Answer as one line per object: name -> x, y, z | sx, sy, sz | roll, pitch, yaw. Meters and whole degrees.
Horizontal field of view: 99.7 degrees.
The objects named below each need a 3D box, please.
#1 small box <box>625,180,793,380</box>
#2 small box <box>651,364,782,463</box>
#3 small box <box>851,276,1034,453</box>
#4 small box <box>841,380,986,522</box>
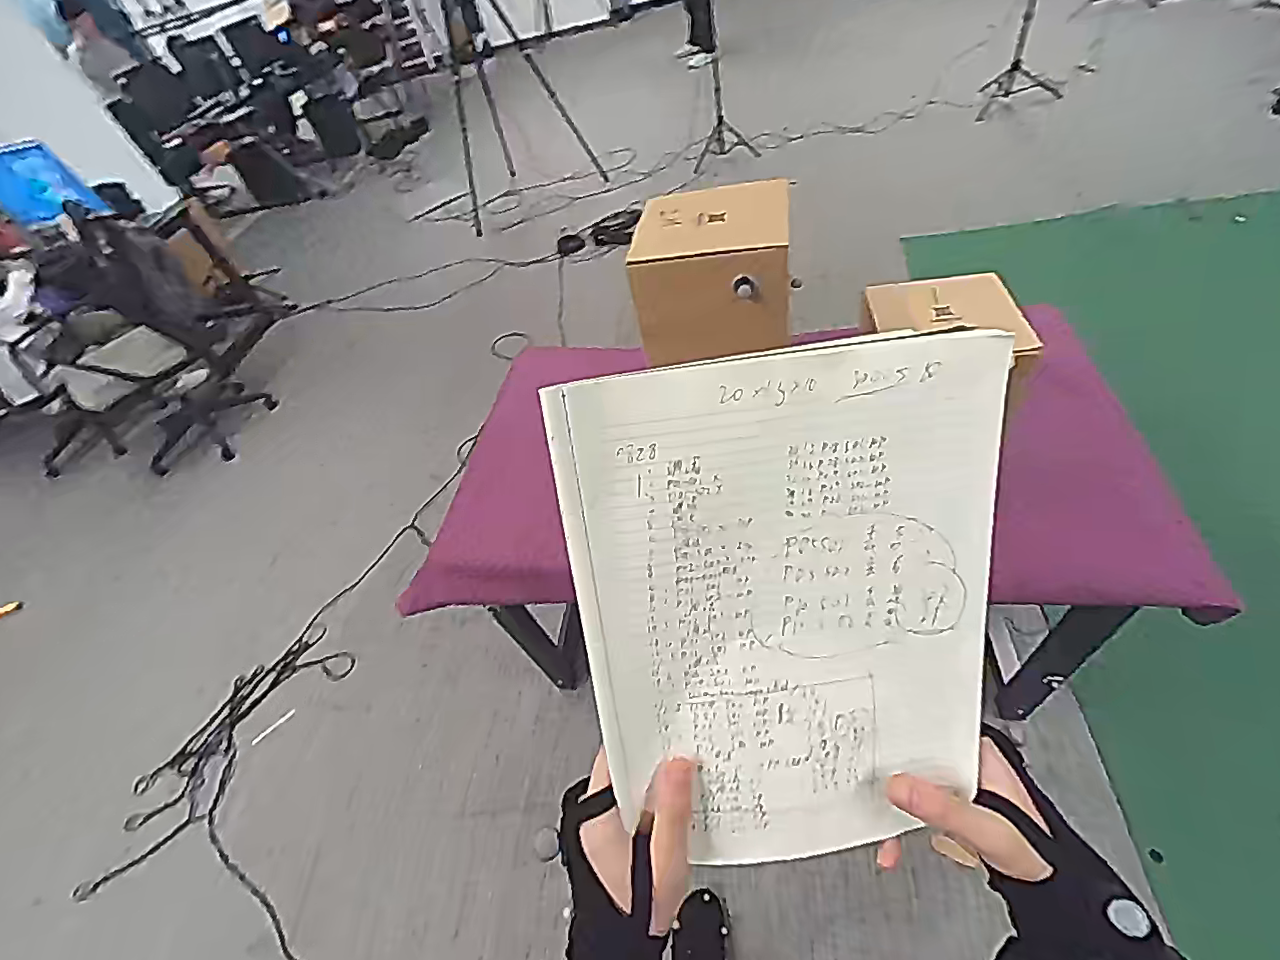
small box -> 0.096, -0.240, 0.670 | 0.179, 0.176, 0.168 | 0, 49, 15
small box -> 0.121, -0.137, 0.797 | 0.168, 0.176, 0.179 | -2, 49, 14
small box -> 0.391, -0.149, 0.735 | 0.168, 0.176, 0.179 | -2, 48, 12
small box -> 0.418, -0.046, 0.860 | 0.168, 0.176, 0.179 | -1, 49, 13
